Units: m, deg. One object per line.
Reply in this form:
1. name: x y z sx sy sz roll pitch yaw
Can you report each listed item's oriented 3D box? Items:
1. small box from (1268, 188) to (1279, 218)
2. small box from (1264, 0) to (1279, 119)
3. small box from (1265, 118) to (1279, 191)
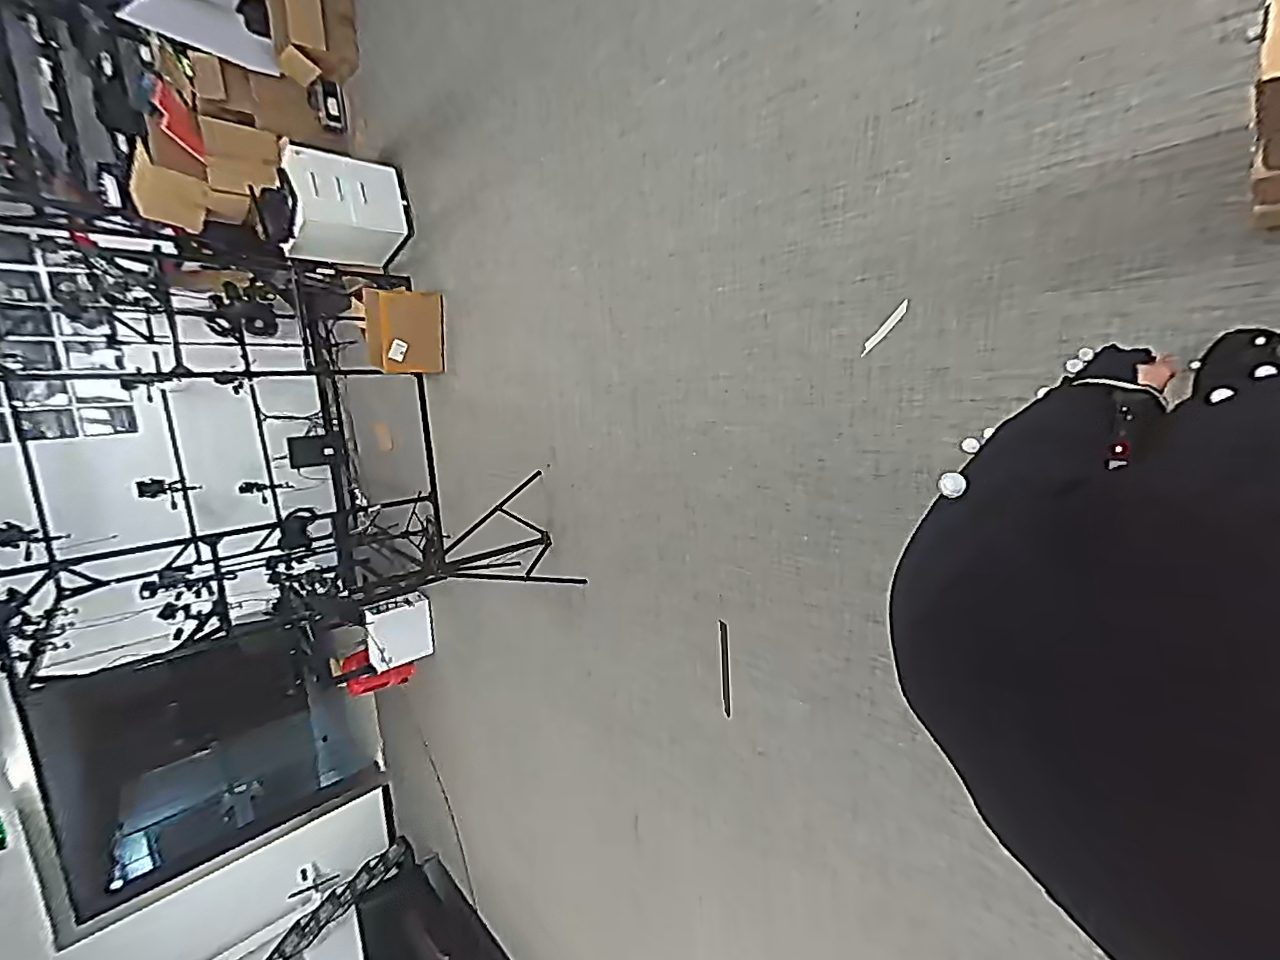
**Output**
1. small box: 1.021 -0.487 0.759 0.168 0.176 0.179 10 107 48
2. small box: 0.652 -0.430 0.437 0.179 0.176 0.168 11 106 49
3. small box: 0.900 -0.470 0.652 0.179 0.176 0.168 10 106 49
